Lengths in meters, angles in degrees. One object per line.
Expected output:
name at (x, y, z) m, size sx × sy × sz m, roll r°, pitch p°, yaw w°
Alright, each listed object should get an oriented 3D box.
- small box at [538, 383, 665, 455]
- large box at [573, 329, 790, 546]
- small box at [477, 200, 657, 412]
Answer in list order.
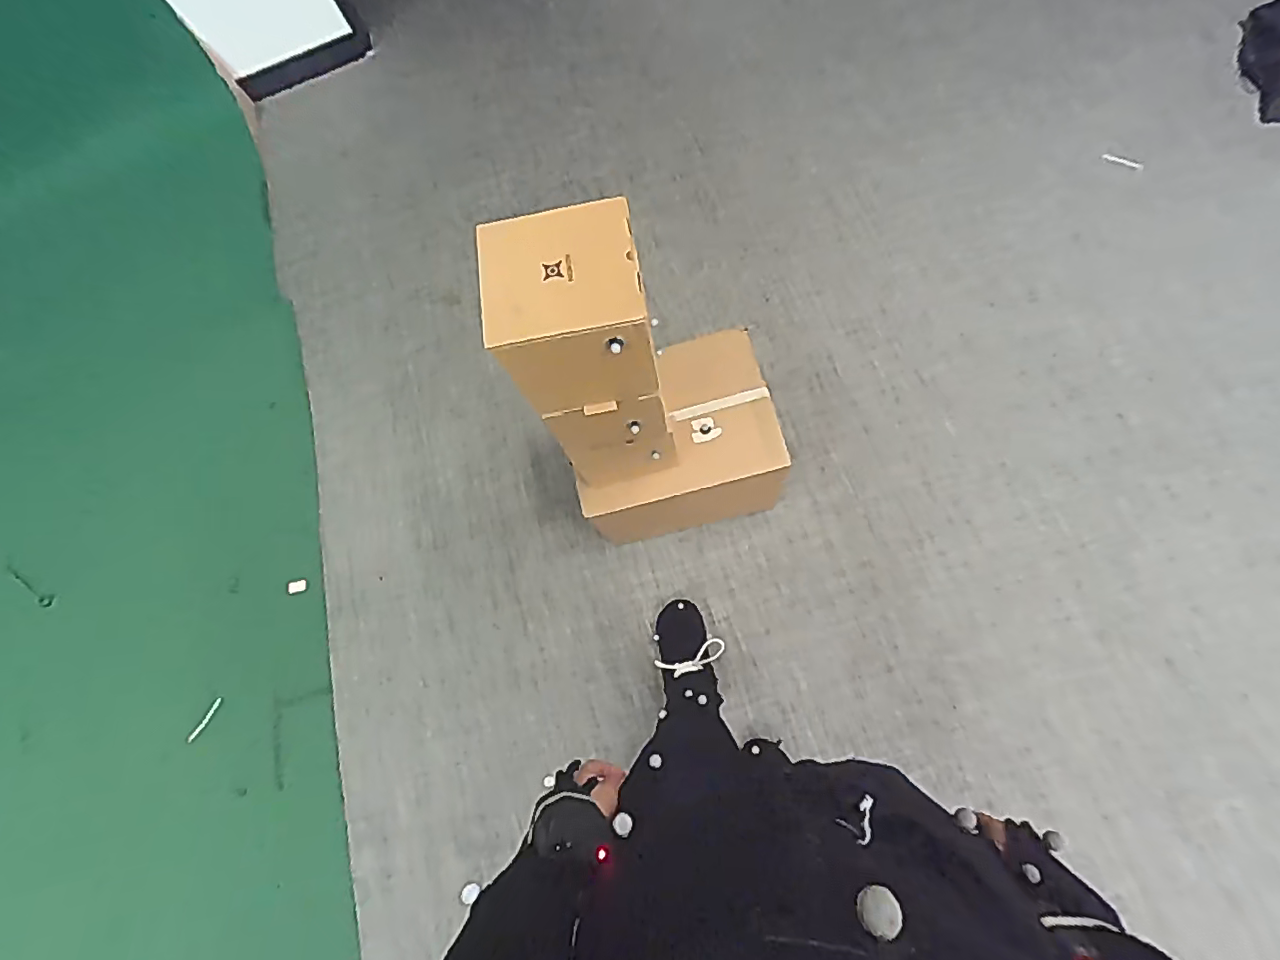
small box at (-0.059, -0.149, 0.812) m, size 0.168 × 0.176 × 0.179 m, roll -11°, pitch 71°, yaw 3°
large box at (0.073, -0.071, 1.198) m, size 0.408 × 0.320 × 0.320 m, roll -15°, pitch 73°, yaw 3°
small box at (-0.081, -0.198, 0.658) m, size 0.179 × 0.176 × 0.168 m, roll -10°, pitch 71°, yaw 3°
